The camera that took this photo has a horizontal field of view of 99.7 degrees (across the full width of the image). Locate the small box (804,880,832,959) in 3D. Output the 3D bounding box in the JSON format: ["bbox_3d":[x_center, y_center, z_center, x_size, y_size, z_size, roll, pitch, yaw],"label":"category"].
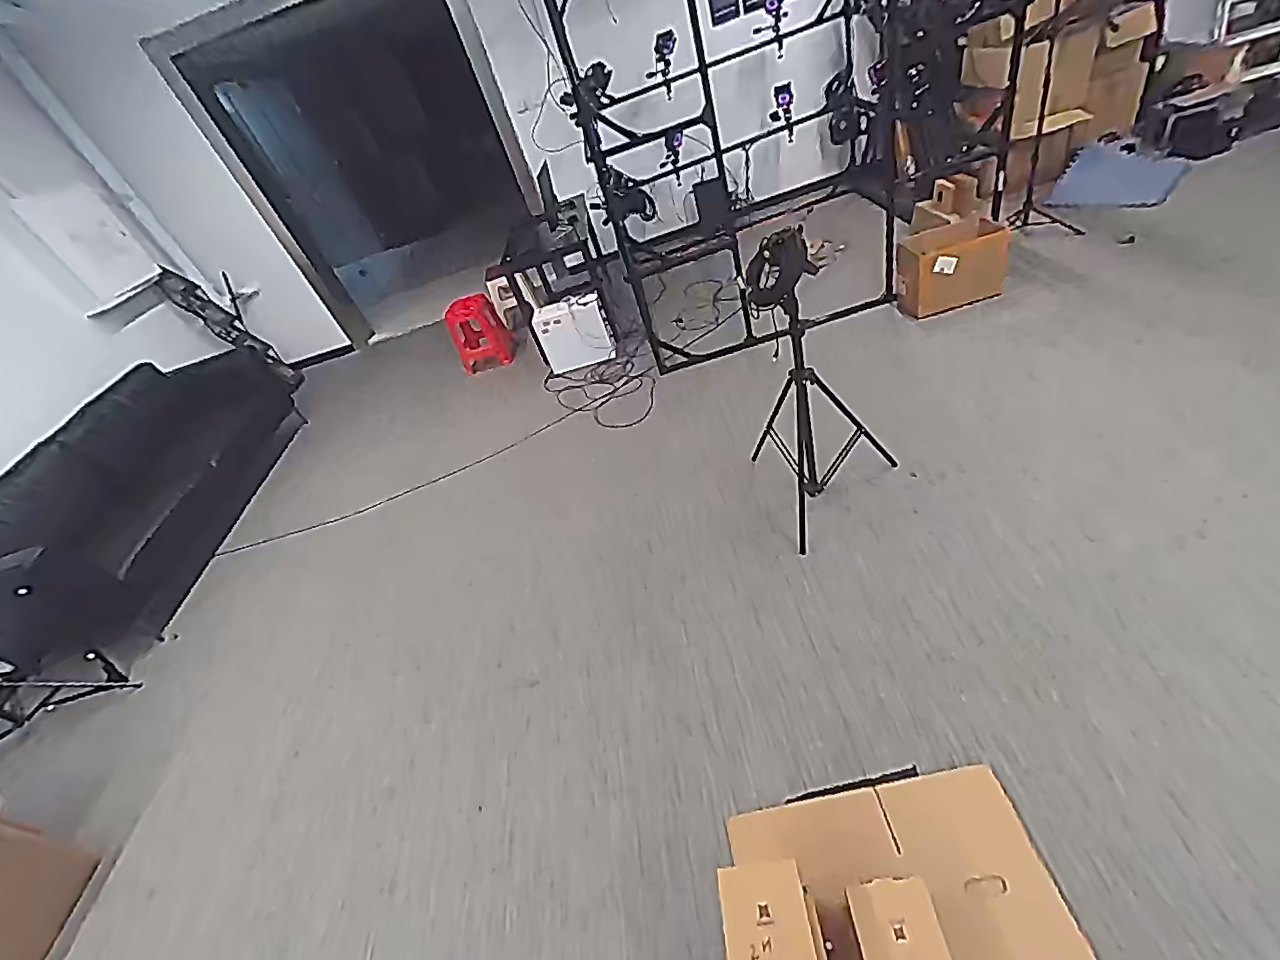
[{"bbox_3d":[0.321,1.008,1.182,0.168,0.176,0.179,-15,40,9],"label":"small box"}]

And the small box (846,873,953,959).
[{"bbox_3d":[0.542,0.960,1.136,0.168,0.176,0.179,-13,40,9],"label":"small box"}]

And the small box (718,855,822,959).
[{"bbox_3d":[0.262,0.888,1.085,0.168,0.176,0.179,-15,40,10],"label":"small box"}]
